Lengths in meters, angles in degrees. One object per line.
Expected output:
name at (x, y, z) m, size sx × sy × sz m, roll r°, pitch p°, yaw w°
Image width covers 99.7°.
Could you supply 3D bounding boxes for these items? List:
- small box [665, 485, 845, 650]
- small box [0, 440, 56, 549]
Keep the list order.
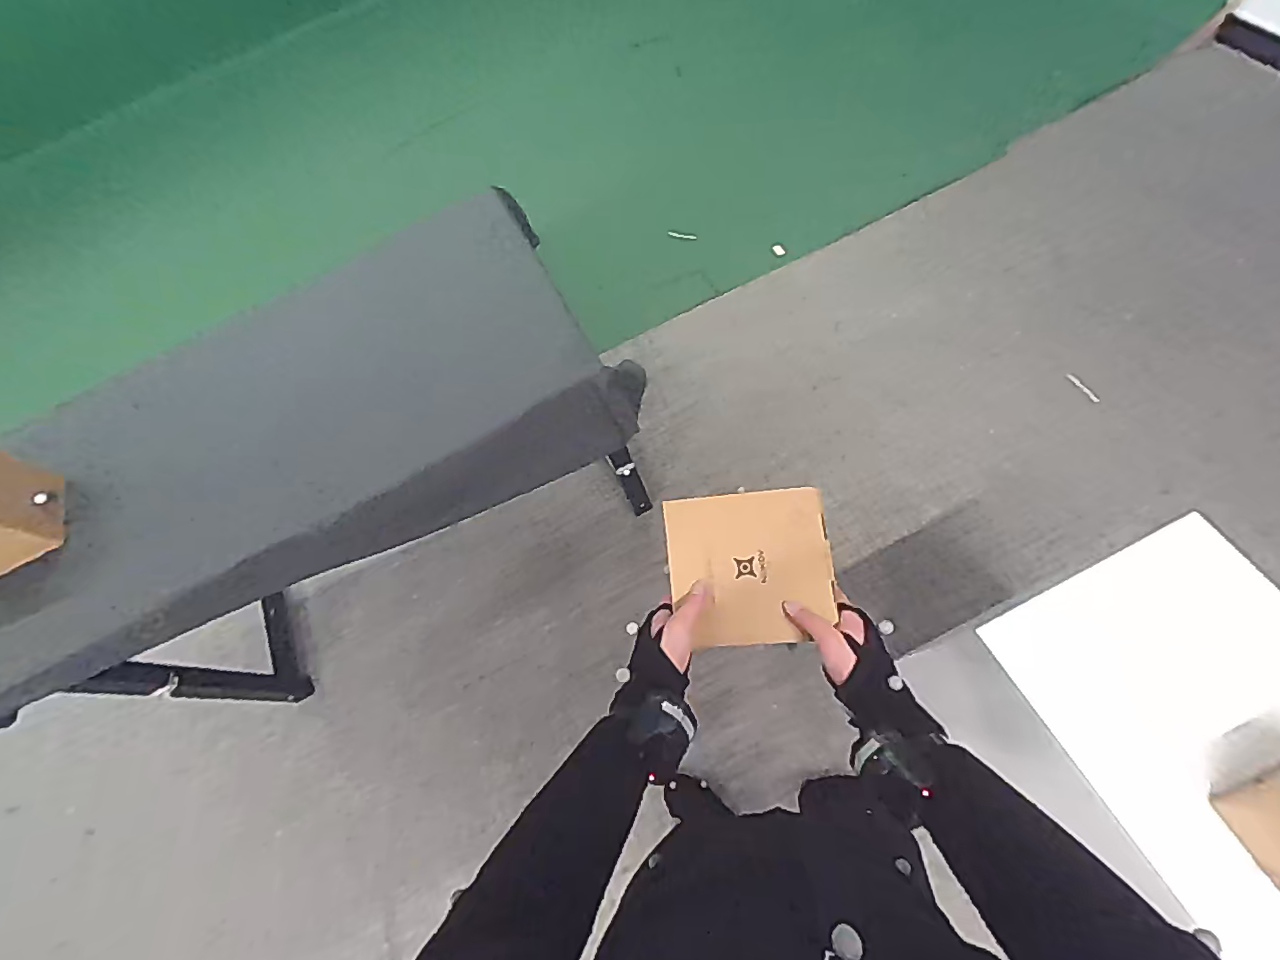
small box at (0.129, 0.108, 0.657) m, size 0.179 × 0.176 × 0.168 m, roll -7°, pitch 77°, yaw 7°
small box at (-1.192, 0.030, 0.938) m, size 0.179 × 0.176 × 0.168 m, roll -27°, pitch 65°, yaw -4°
